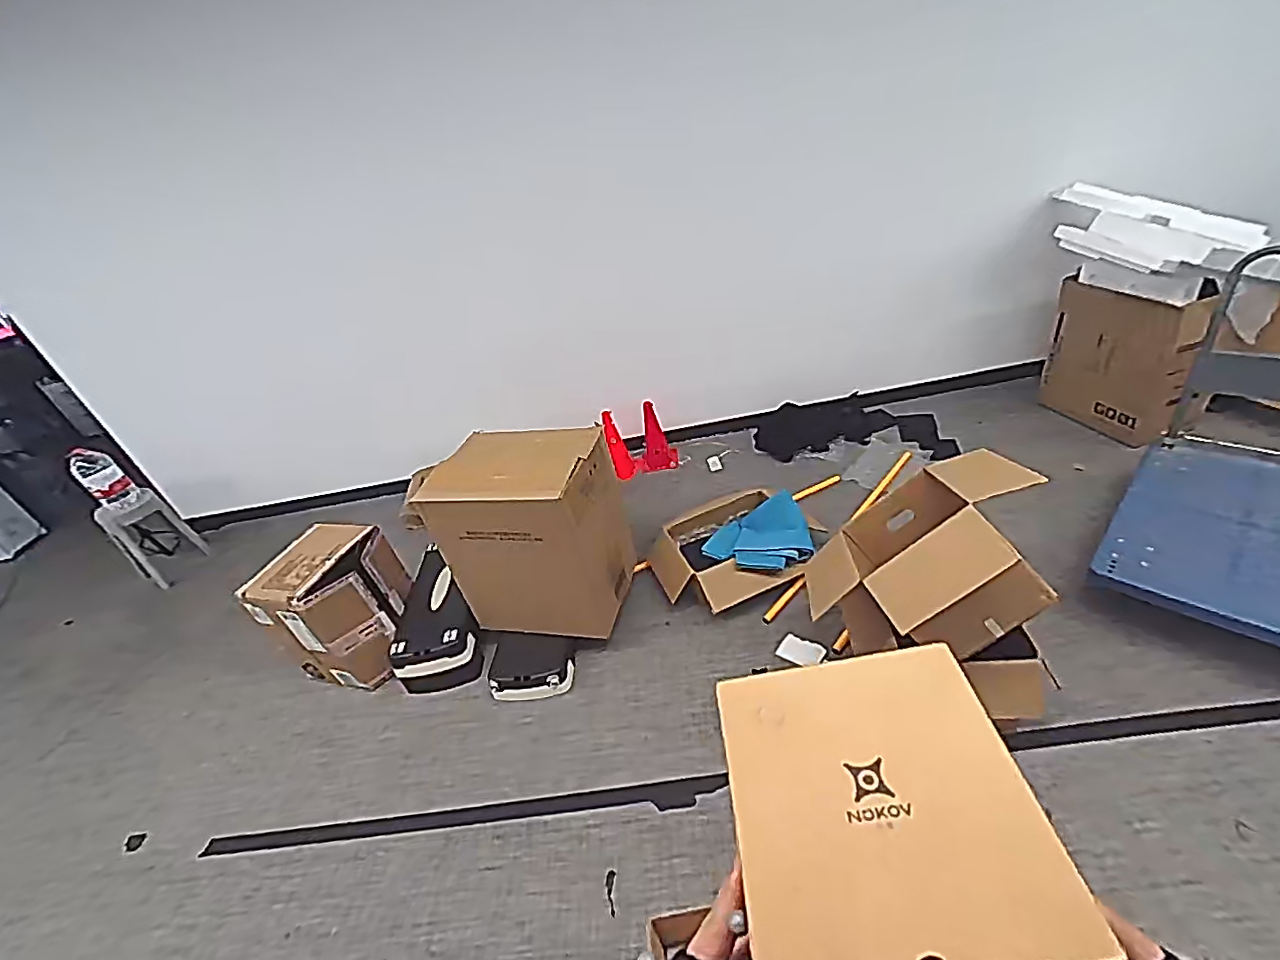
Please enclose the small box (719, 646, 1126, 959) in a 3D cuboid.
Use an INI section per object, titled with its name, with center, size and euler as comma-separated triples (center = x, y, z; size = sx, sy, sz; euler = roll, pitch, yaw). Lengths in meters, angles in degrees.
[small box]
center = 0.155, 0.244, 0.361
size = 0.168, 0.176, 0.179
euler = -13, 34, 8
